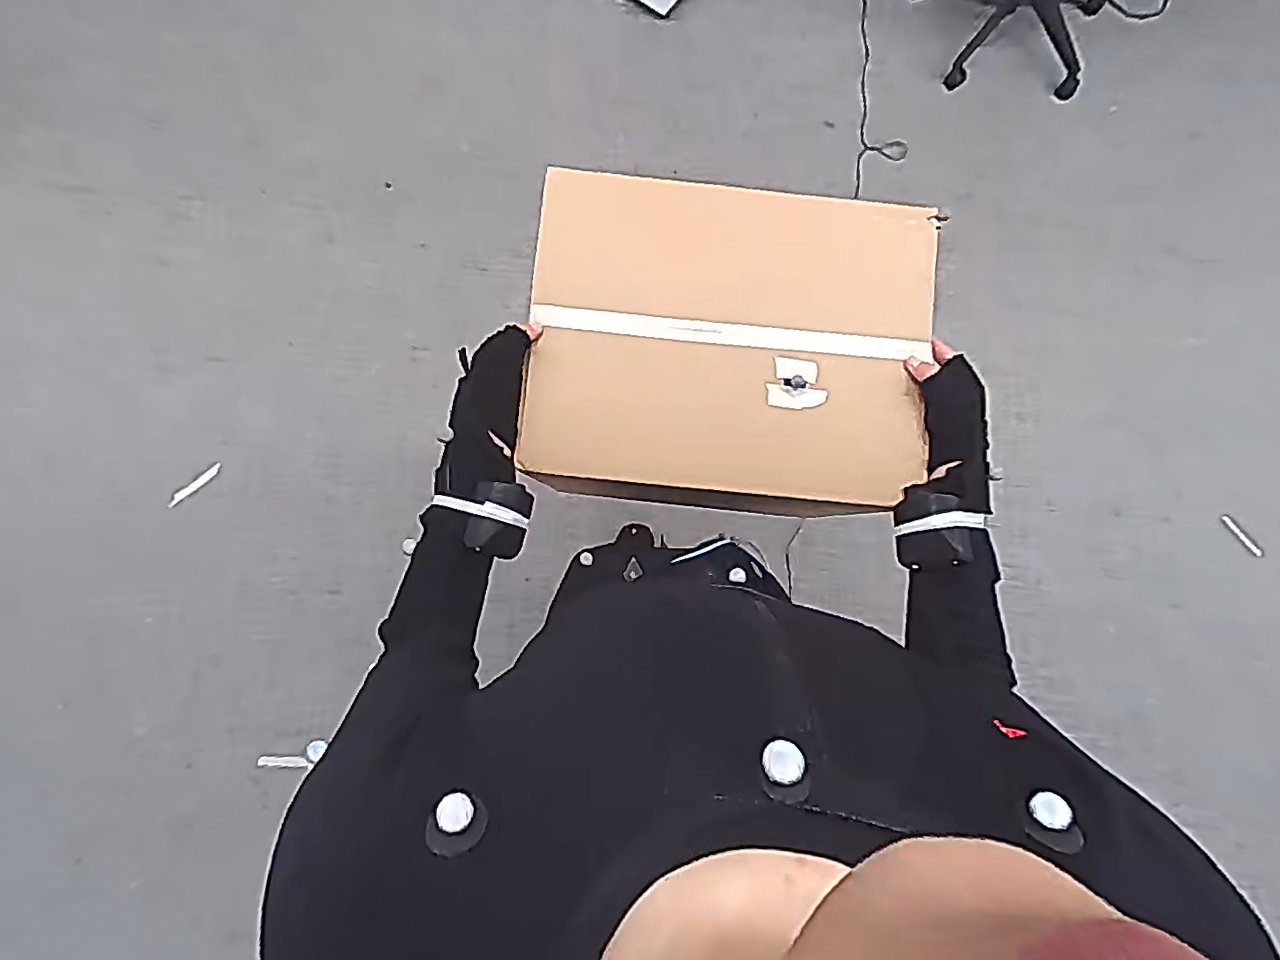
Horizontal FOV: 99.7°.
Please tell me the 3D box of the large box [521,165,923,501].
[{"bbox_3d":[0.083,-0.148,0.703,0.408,0.320,0.320,6,87,-2],"label":"large box"}]
